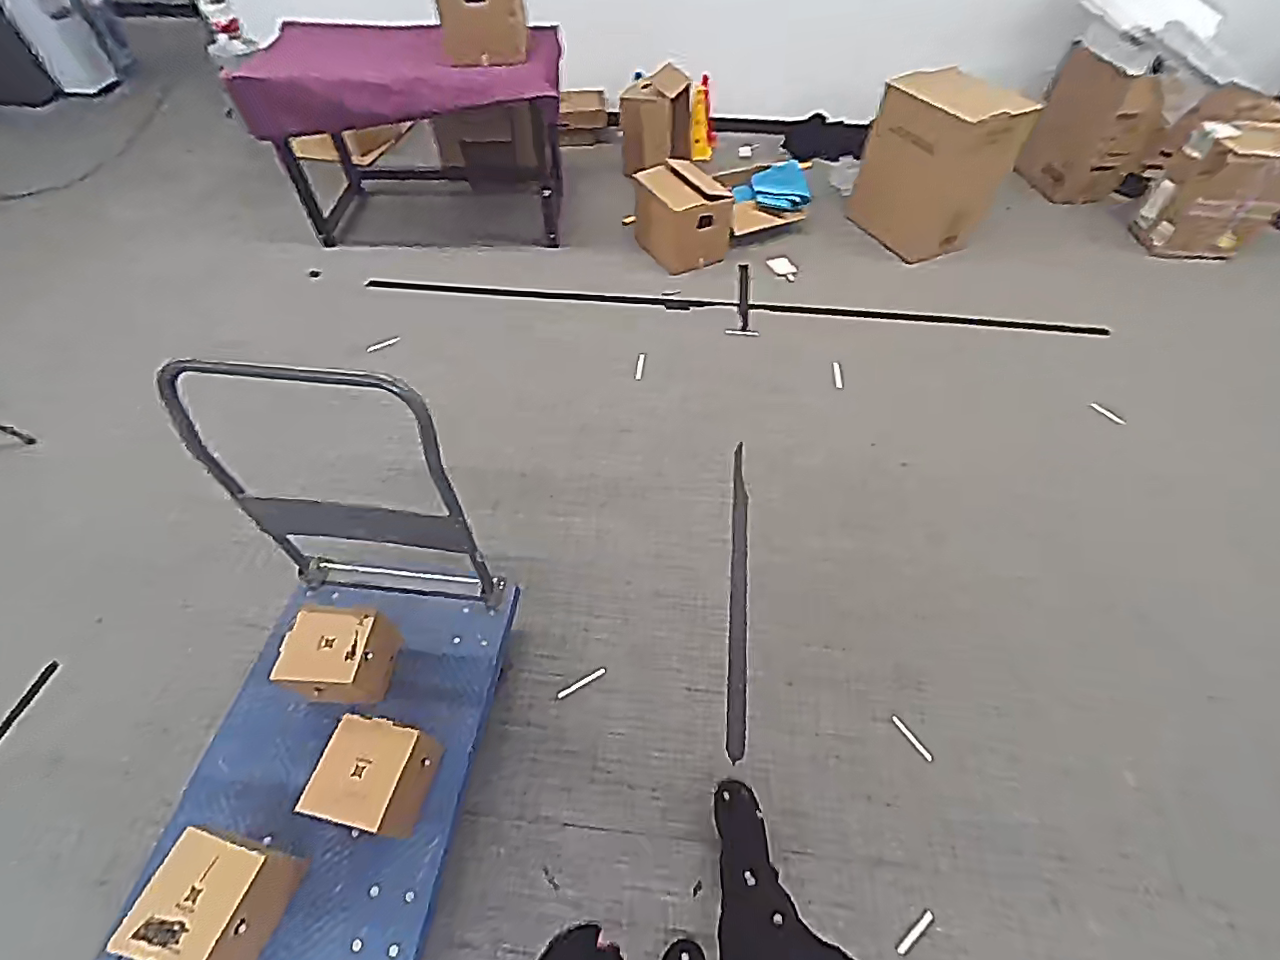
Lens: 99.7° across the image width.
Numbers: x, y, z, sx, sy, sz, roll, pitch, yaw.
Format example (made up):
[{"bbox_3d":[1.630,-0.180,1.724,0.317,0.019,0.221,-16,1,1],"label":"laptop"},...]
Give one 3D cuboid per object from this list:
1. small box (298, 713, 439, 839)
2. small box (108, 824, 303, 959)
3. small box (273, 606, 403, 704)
[{"bbox_3d":[-0.526,0.596,1.086,0.168,0.176,0.179,9,54,9],"label":"small box"},{"bbox_3d":[-0.751,0.748,0.962,0.168,0.176,0.179,14,52,9],"label":"small box"},{"bbox_3d":[-0.675,0.402,1.233,0.179,0.176,0.168,2,53,2],"label":"small box"}]
